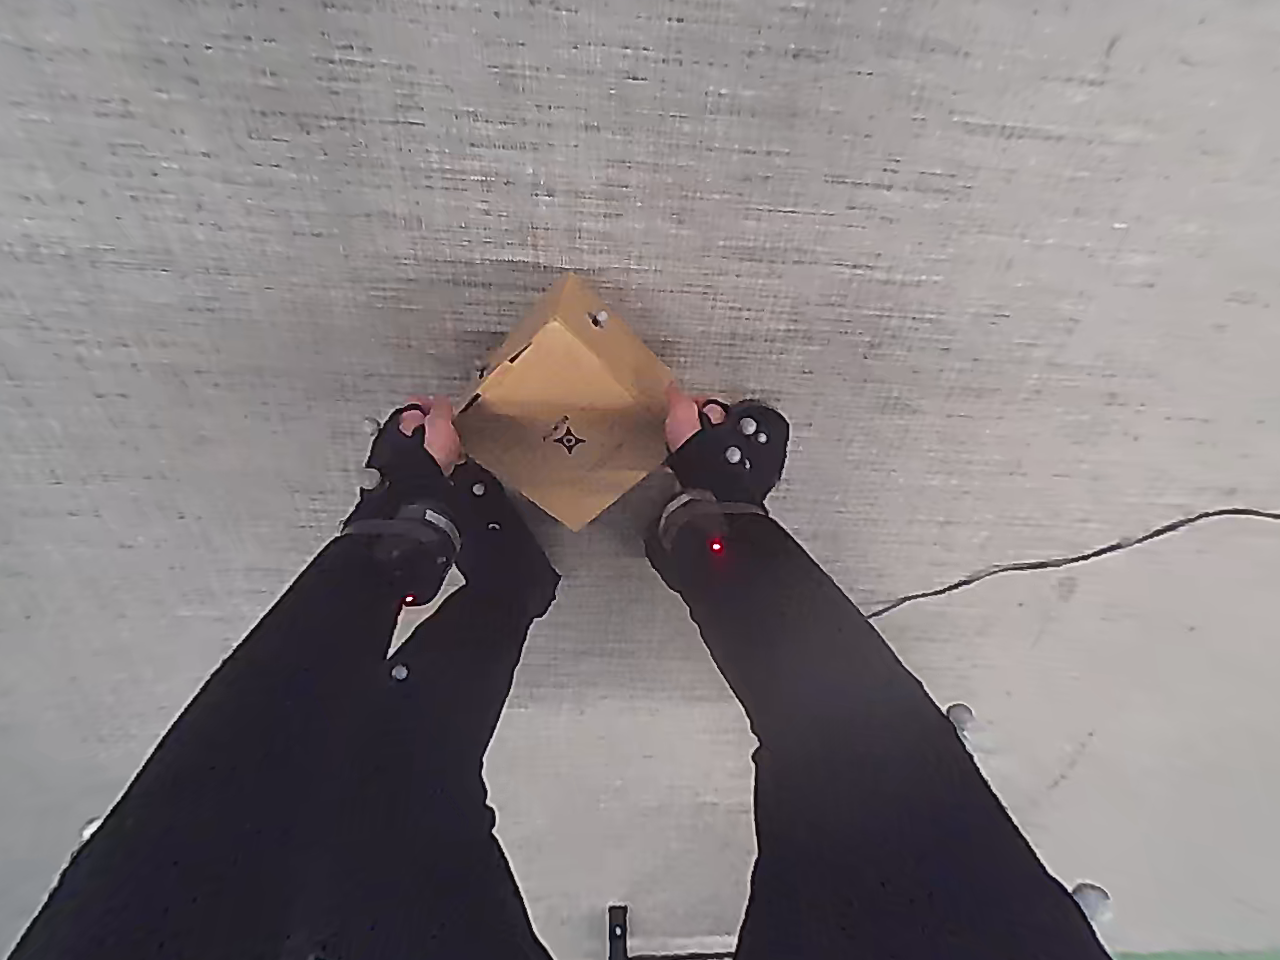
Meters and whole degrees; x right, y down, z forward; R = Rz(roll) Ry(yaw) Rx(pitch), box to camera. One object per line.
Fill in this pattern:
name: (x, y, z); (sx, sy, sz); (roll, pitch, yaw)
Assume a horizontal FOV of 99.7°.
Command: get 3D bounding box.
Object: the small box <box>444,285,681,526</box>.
small box: (-0.078, -0.090, 0.596); (0.168, 0.176, 0.179); (-39, 118, 23)
